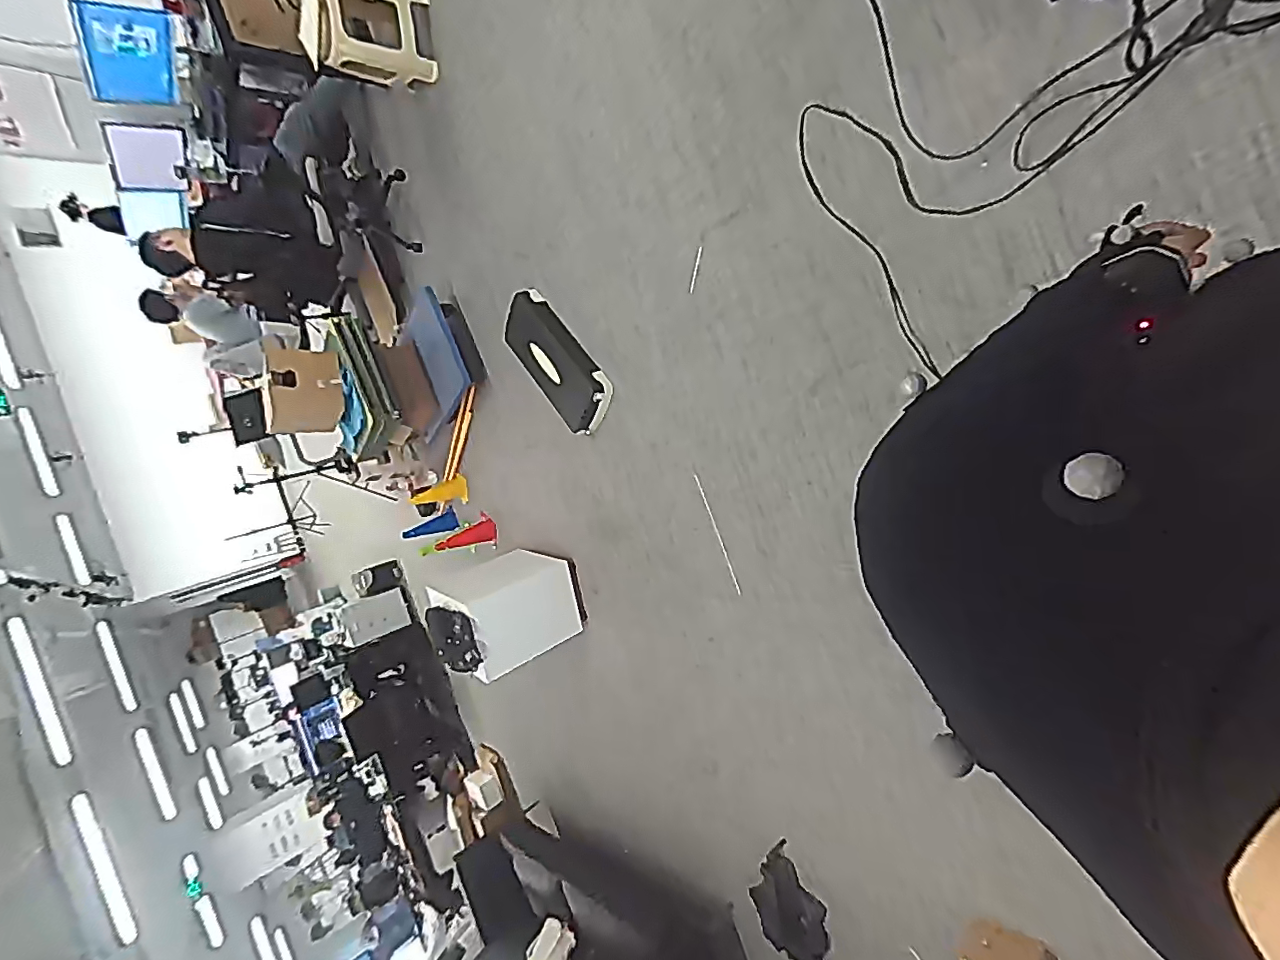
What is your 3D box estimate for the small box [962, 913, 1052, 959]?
[{"bbox_3d":[1.023,1.363,1.491,0.168,0.176,0.179,-9,100,53],"label":"small box"}]
